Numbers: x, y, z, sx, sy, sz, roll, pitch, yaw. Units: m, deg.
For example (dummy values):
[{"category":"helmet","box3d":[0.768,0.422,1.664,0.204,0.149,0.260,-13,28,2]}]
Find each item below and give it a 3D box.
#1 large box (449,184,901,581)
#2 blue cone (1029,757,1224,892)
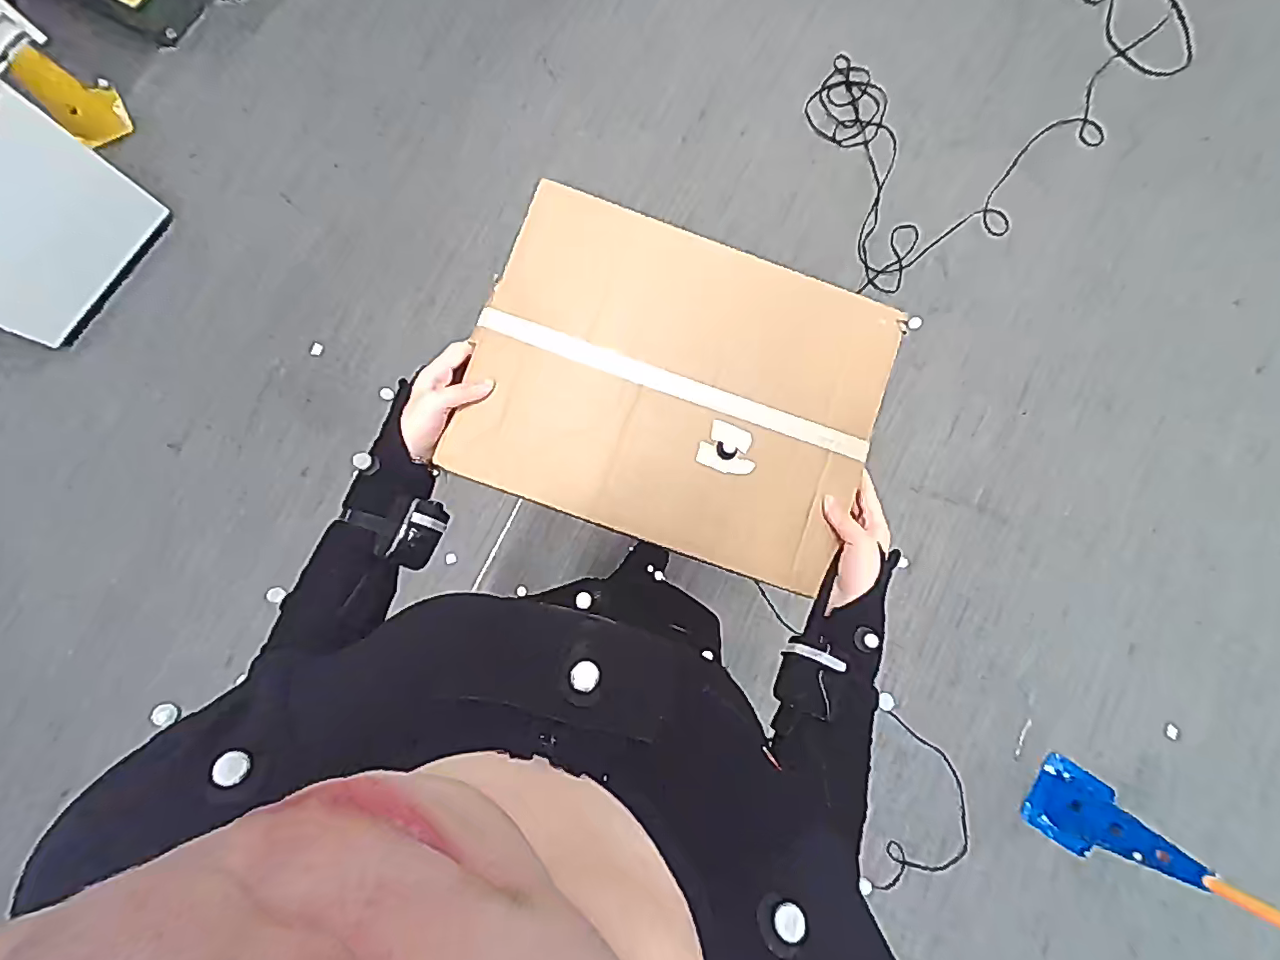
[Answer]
[{"category":"large box","box3d":[0.032,-0.090,0.697,0.408,0.320,0.320,20,85,-3]},{"category":"blue cone","box3d":[1.147,0.835,1.274,0.192,0.380,0.193,35,82,3]}]
